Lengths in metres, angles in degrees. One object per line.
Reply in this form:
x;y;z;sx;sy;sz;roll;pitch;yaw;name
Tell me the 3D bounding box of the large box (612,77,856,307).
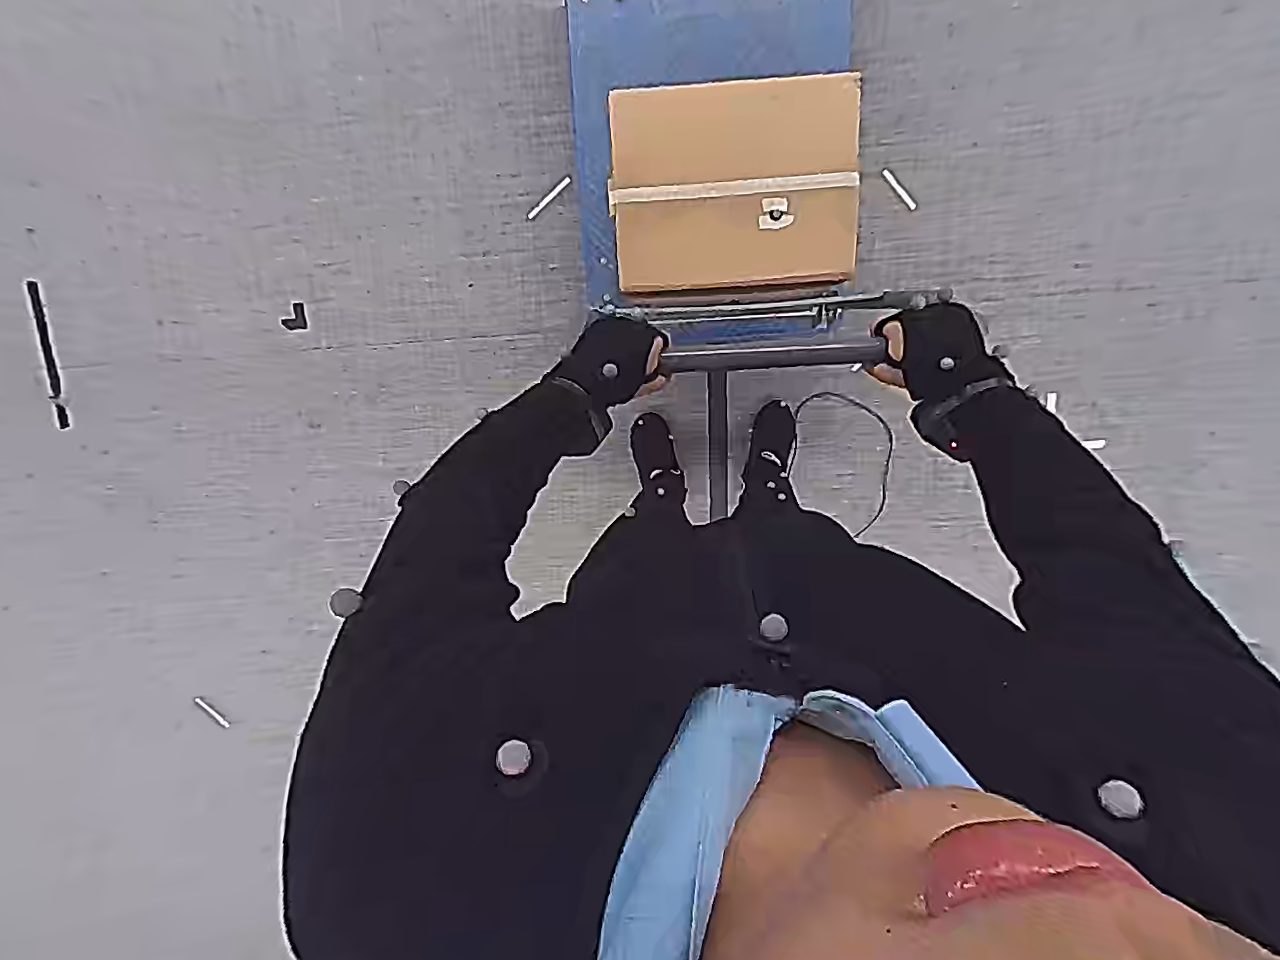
0.165;-0.523;1.058;0.408;0.320;0.320;-3;105;2;large box
